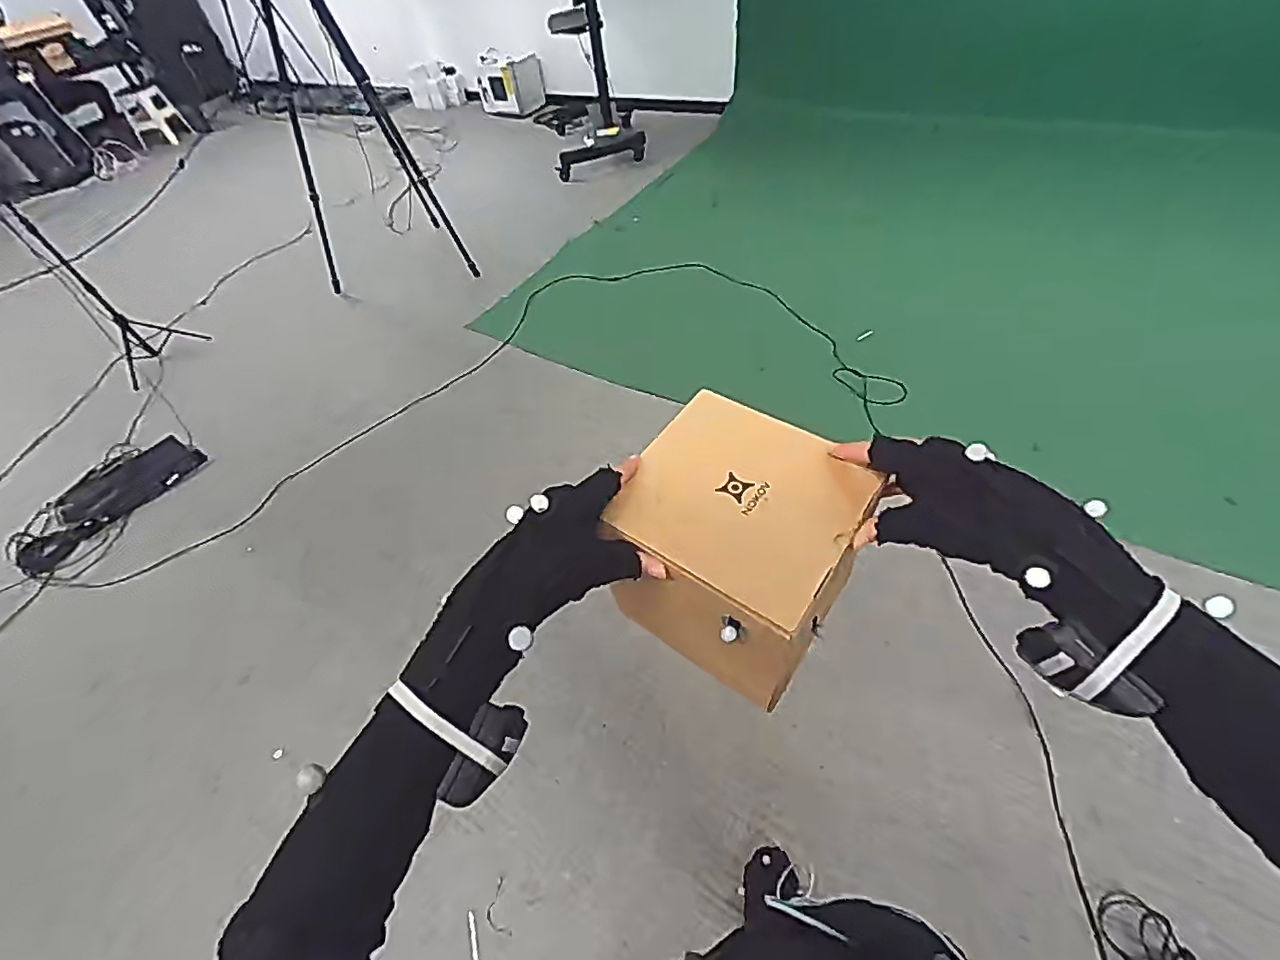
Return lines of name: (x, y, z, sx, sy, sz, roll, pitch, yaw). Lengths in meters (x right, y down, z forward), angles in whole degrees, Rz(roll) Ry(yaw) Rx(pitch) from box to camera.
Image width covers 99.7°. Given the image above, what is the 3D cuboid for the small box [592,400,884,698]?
small box: (0.082, 0.064, 0.487, 0.179, 0.176, 0.168, 29, 59, 25)
